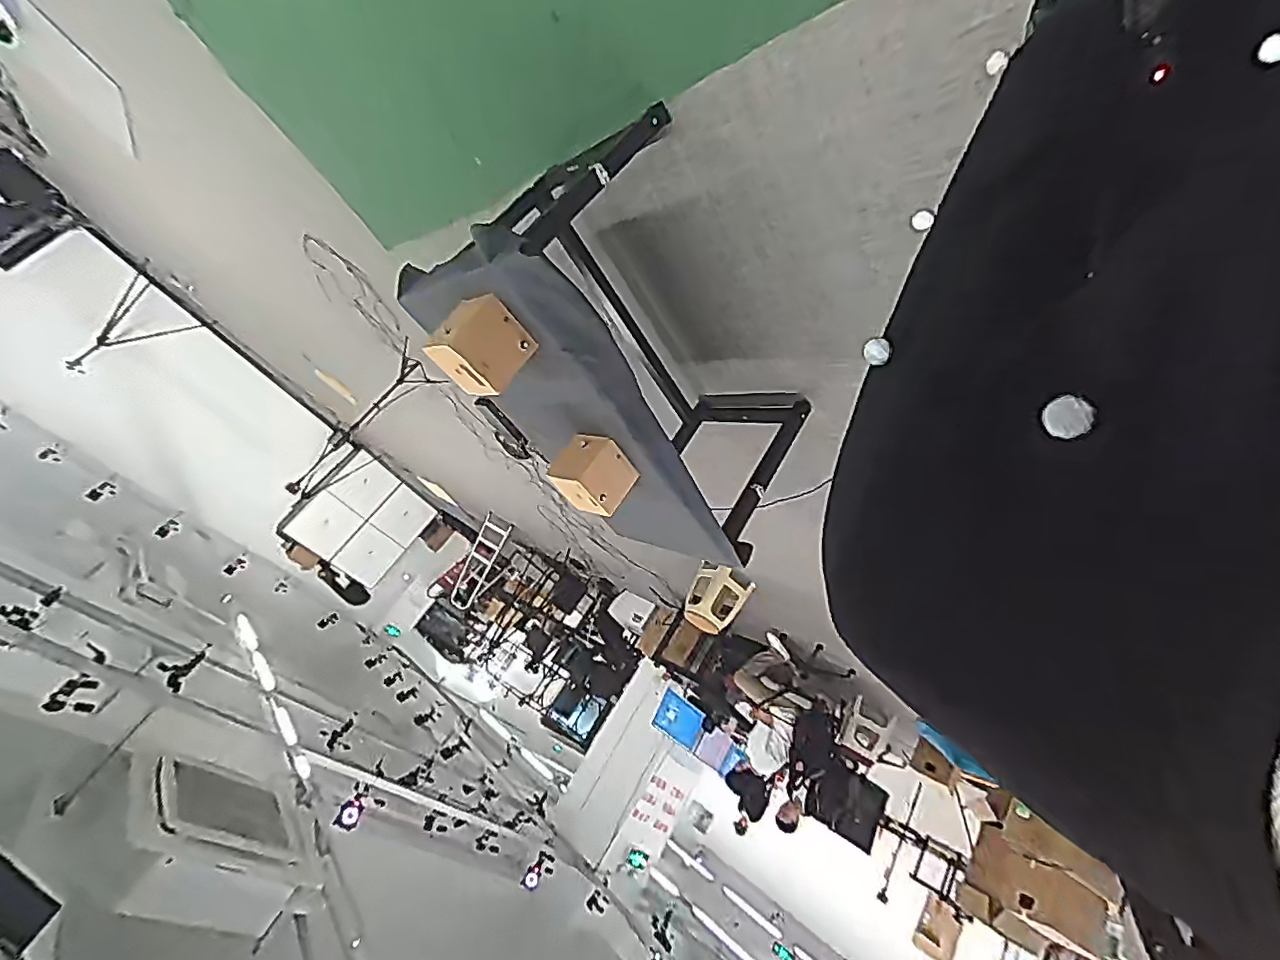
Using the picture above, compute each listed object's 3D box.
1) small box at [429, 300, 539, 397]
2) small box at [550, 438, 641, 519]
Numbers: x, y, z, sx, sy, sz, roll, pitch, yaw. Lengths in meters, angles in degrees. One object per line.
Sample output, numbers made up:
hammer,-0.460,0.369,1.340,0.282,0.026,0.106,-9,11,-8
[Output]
small box,-0.377,-0.323,1.334,0.179,0.176,0.168,12,151,48
small box,-0.129,-0.011,1.622,0.179,0.176,0.168,11,148,48
